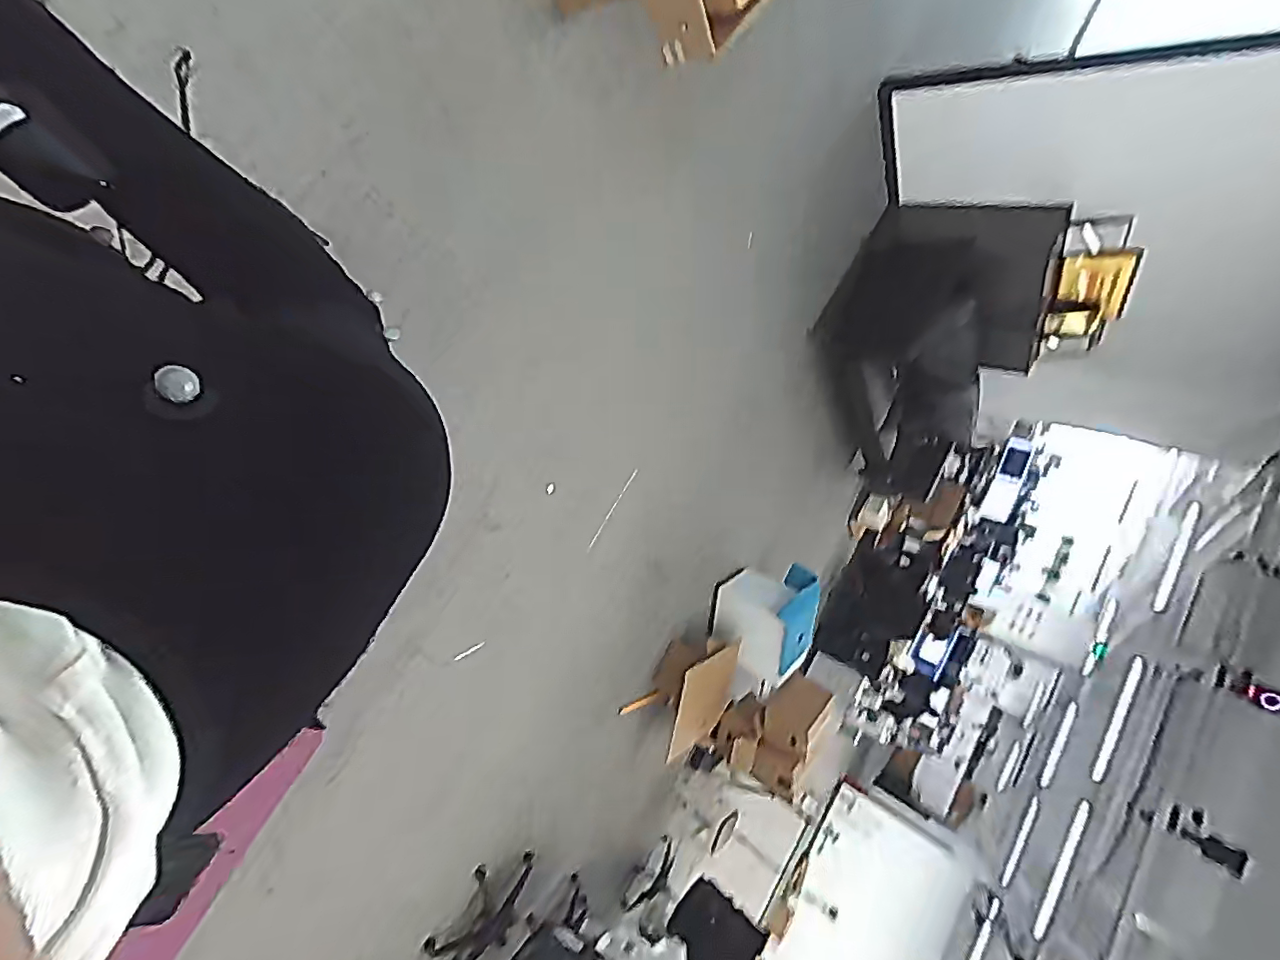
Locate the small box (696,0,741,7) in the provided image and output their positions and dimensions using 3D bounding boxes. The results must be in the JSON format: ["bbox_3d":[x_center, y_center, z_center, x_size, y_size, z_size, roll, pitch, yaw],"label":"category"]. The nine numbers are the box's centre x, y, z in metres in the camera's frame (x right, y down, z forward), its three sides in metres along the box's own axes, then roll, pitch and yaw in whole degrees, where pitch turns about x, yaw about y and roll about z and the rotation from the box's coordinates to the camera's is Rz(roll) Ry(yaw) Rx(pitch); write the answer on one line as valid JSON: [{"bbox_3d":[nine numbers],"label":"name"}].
[{"bbox_3d":[0.242,-1.408,1.435,0.179,0.176,0.168,-54,142,-14],"label":"small box"}]
